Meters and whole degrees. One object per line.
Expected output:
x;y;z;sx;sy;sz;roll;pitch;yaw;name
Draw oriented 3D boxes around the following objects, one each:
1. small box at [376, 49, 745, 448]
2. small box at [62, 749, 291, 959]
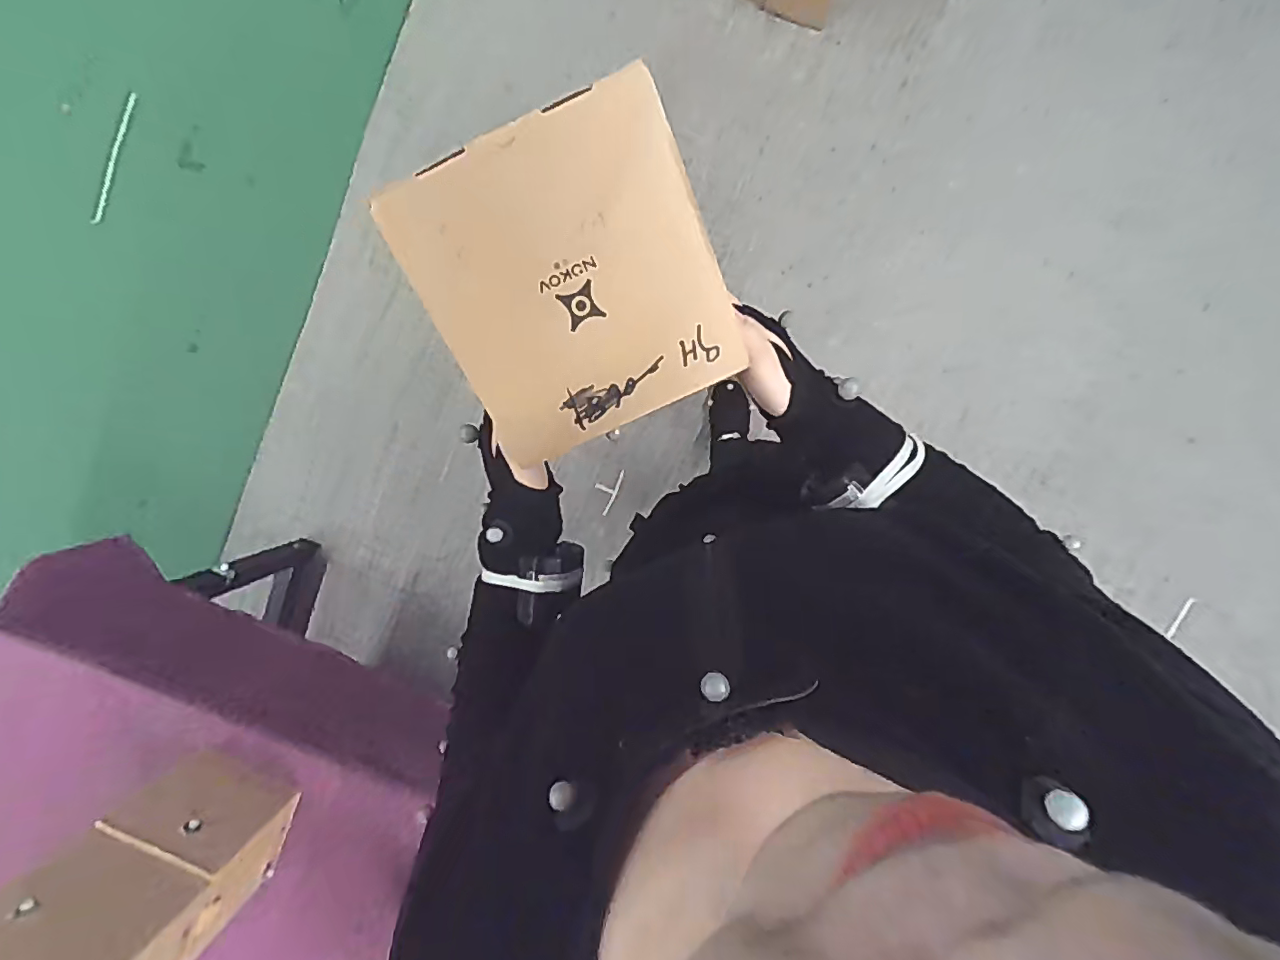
-0.046;-0.152;0.390;0.168;0.176;0.179;-23;113;4;small box
-0.661;0.535;0.793;0.179;0.176;0.168;23;98;1;small box
